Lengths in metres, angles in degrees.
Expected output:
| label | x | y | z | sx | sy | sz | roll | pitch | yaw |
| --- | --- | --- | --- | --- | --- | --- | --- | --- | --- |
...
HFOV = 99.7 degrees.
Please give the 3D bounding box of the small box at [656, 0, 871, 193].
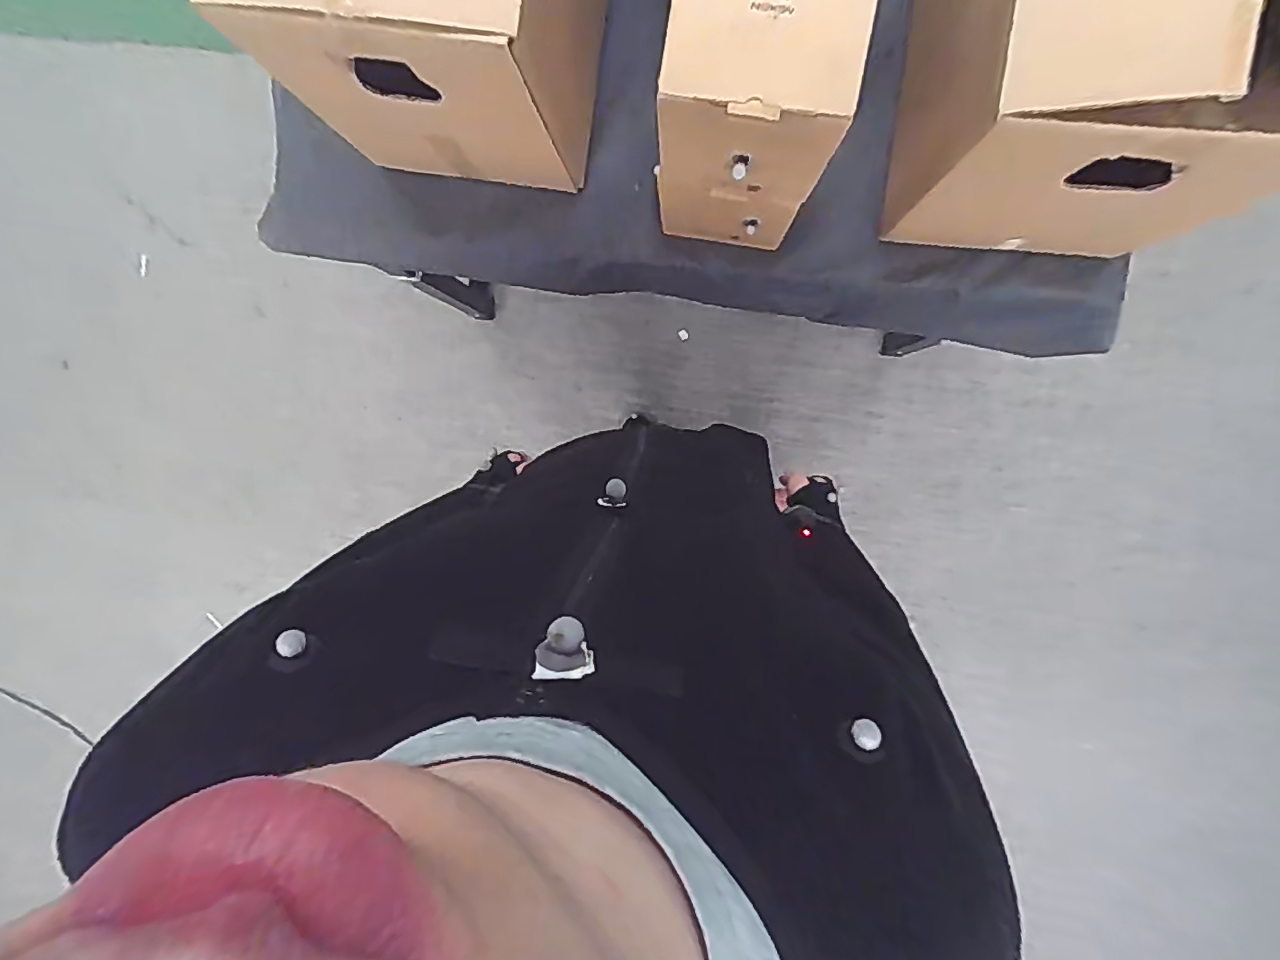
| label | x | y | z | sx | sy | sz | roll | pitch | yaw |
| --- | --- | --- | --- | --- | --- | --- | --- | --- | --- |
| small box | 0.113 | -0.405 | 0.523 | 0.168 | 0.176 | 0.179 | 10 | 97 | 3 |
